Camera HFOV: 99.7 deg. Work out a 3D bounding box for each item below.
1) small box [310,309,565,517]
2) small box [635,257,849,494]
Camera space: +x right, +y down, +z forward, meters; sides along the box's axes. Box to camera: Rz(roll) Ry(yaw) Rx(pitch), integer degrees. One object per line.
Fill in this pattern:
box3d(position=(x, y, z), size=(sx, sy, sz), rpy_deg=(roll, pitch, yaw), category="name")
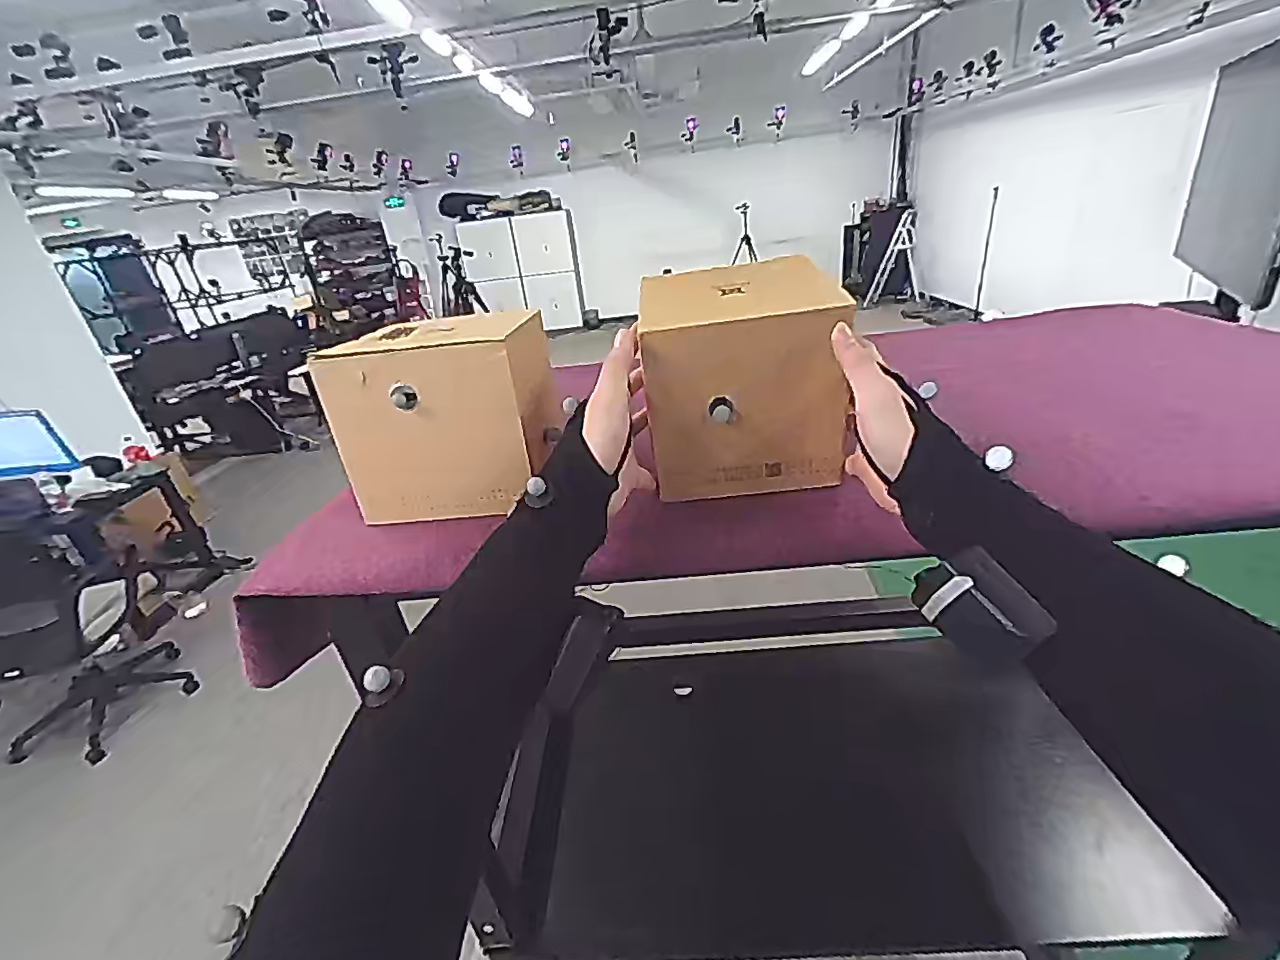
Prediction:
box3d(position=(-0.186, -0.071, 0.559), size=(0.179, 0.176, 0.168), rpy_deg=(-5, 26, 4), category="small box")
box3d(position=(0.091, -0.097, 0.519), size=(0.168, 0.176, 0.179), rpy_deg=(-7, 32, 6), category="small box")
